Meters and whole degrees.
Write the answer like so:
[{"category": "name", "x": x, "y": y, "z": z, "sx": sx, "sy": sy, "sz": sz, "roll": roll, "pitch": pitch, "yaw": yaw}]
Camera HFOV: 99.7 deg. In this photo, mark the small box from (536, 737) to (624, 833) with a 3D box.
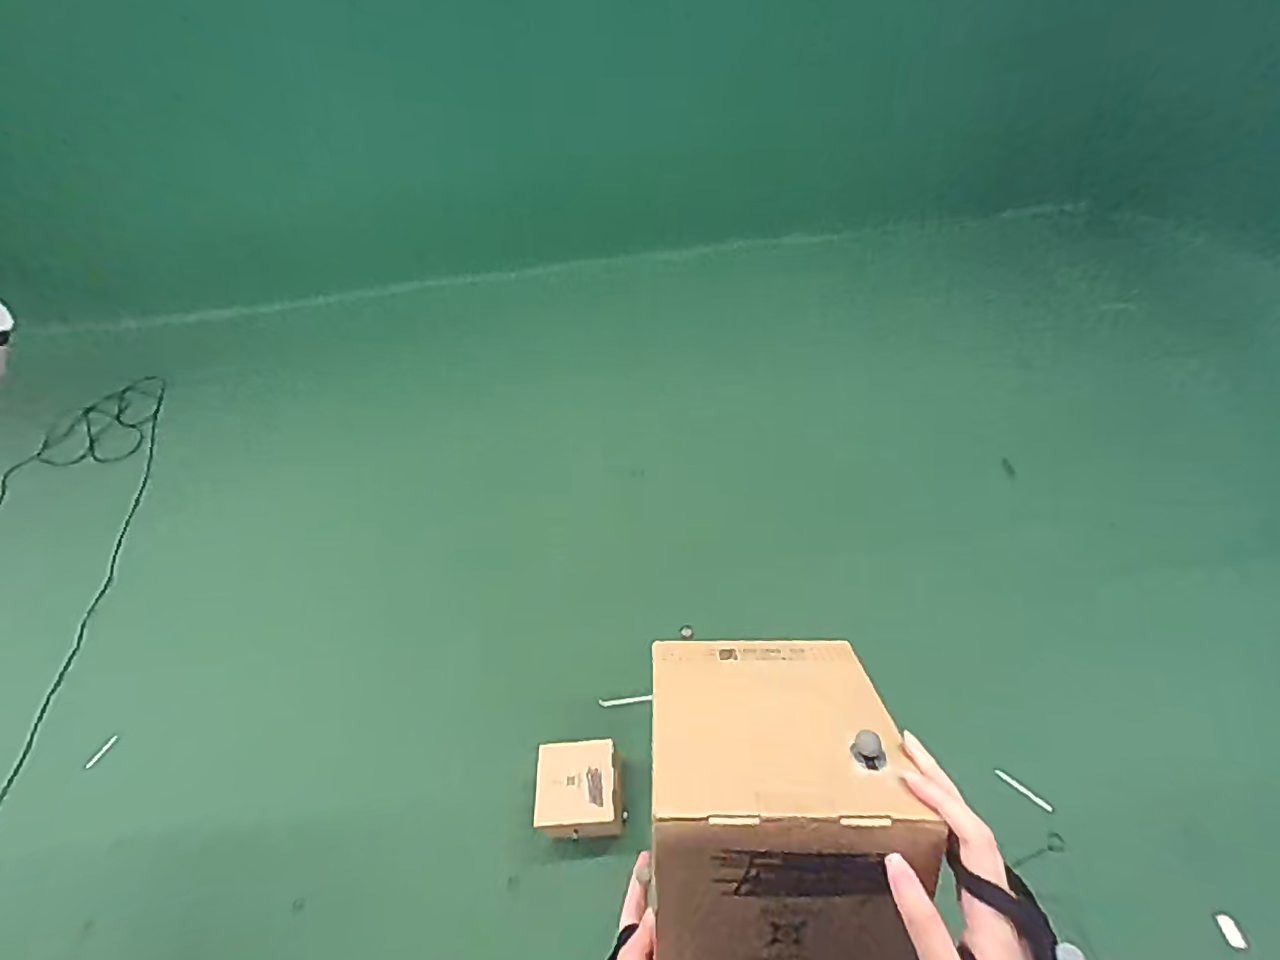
[{"category": "small box", "x": -0.131, "y": 0.717, "z": 1.266, "sx": 0.179, "sy": 0.176, "sz": 0.168, "roll": -7, "pitch": 49, "yaw": 4}]
